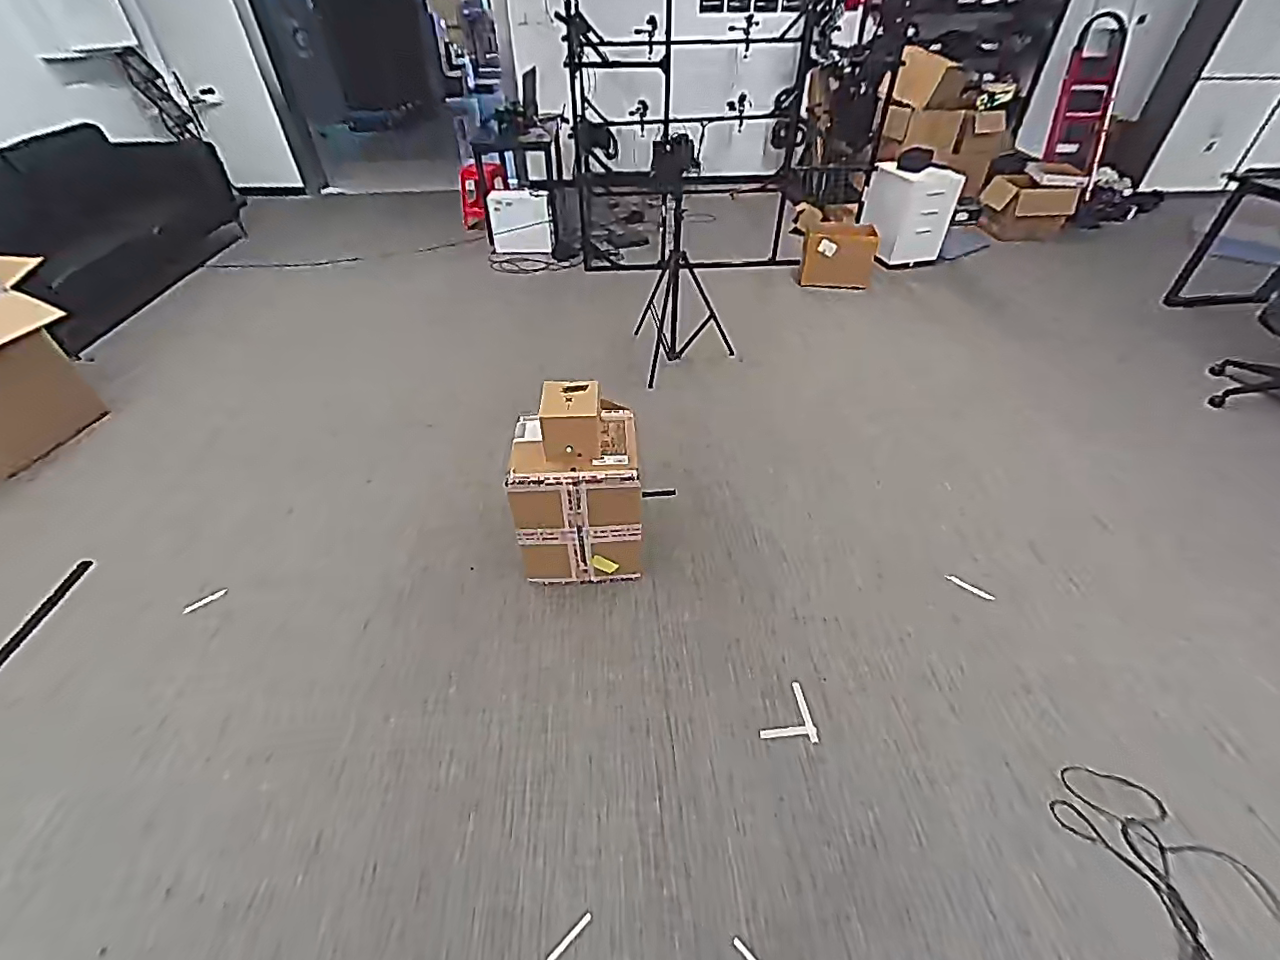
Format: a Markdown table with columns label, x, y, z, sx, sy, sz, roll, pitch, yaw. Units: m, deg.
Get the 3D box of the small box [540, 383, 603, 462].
| label | x | y | z | sx | sy | sz | roll | pitch | yaw |
| --- | --- | --- | --- | --- | --- | --- | --- | --- | --- |
| small box | -0.201 | -0.174 | 1.630 | 0.168 | 0.176 | 0.179 | -2 | 45 | -1 |
